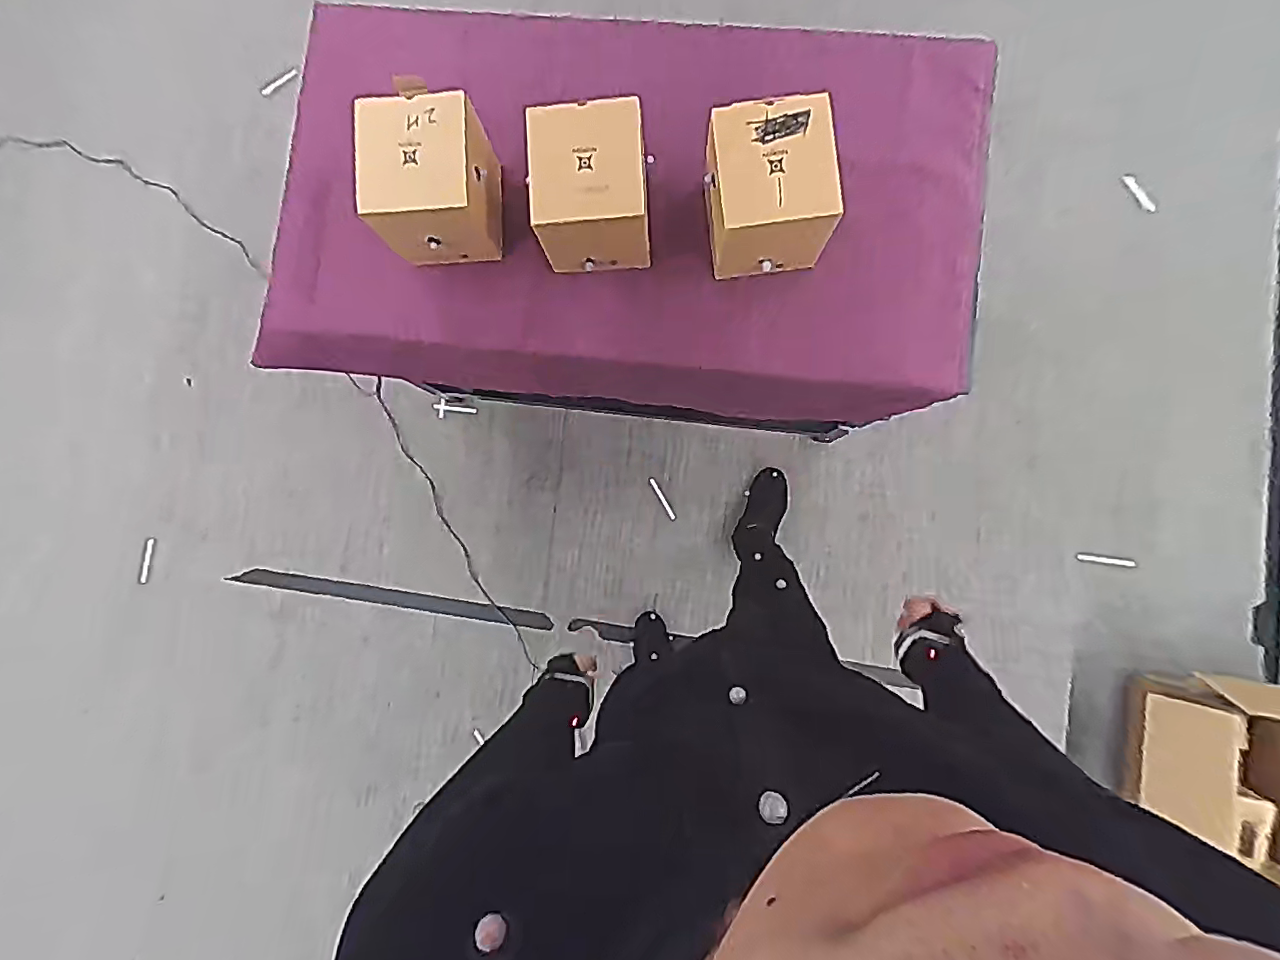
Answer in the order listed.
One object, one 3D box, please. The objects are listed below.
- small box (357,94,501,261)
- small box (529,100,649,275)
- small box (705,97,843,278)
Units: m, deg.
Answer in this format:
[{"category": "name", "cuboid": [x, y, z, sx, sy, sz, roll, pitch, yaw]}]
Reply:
[{"category": "small box", "cuboid": [-0.325, -0.465, 0.861, 0.168, 0.176, 0.179, -2, 86, 2]}, {"category": "small box", "cuboid": [-0.073, -0.446, 0.848, 0.168, 0.176, 0.179, -3, 86, 4]}, {"category": "small box", "cuboid": [0.194, -0.437, 0.830, 0.168, 0.176, 0.179, -6, 87, 3]}]
